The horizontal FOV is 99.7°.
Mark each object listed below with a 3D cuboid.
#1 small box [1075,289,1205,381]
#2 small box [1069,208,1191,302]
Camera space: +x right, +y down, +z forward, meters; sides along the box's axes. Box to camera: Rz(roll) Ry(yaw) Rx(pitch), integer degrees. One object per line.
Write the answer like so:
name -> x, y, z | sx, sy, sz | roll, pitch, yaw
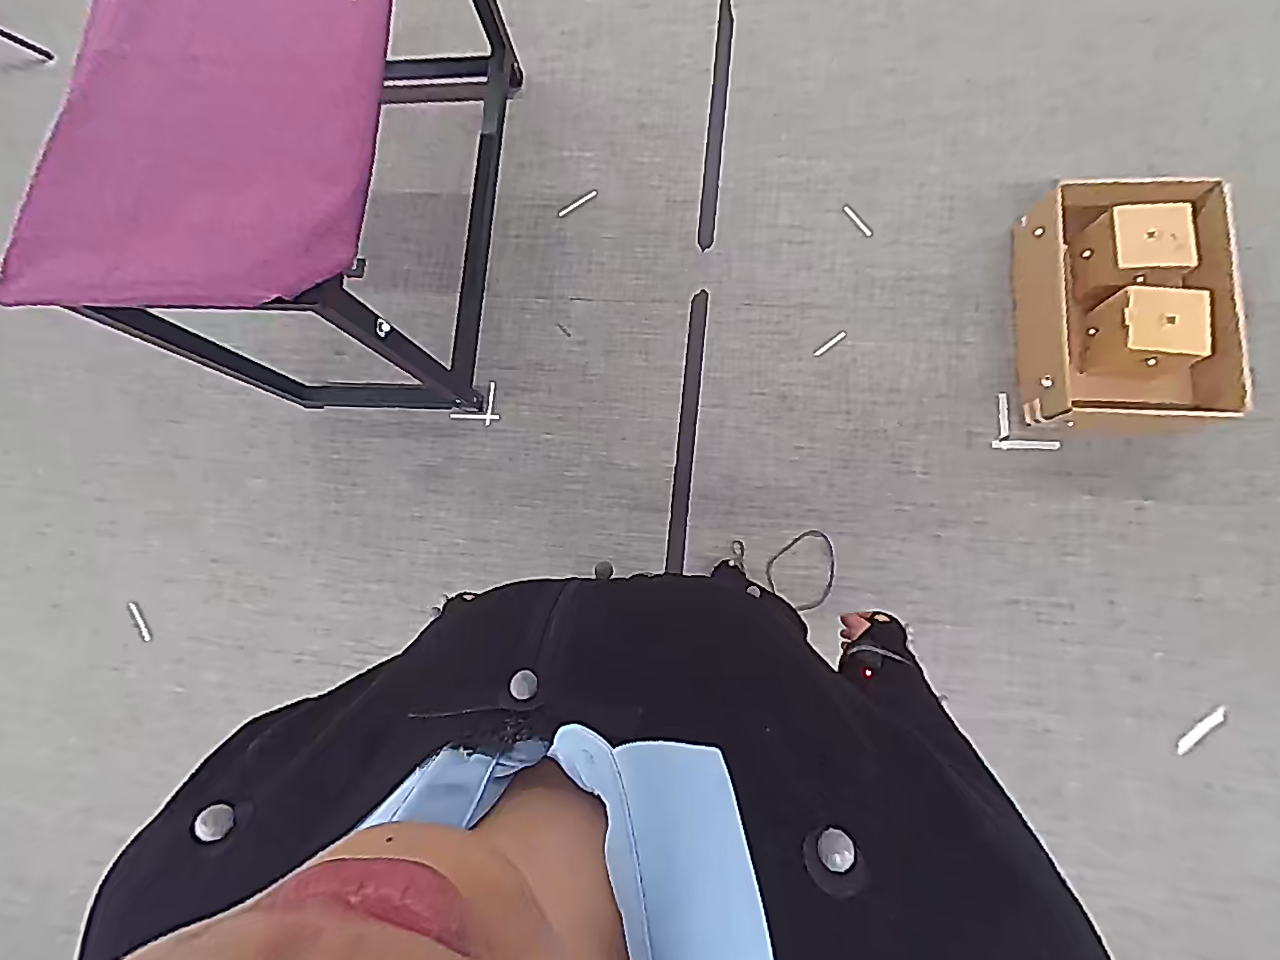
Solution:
small box -> 1.253, -0.358, 1.363 | 0.179, 0.176, 0.168 | 8, 81, 8
small box -> 1.248, -0.574, 1.396 | 0.179, 0.176, 0.168 | 1, 83, 6
